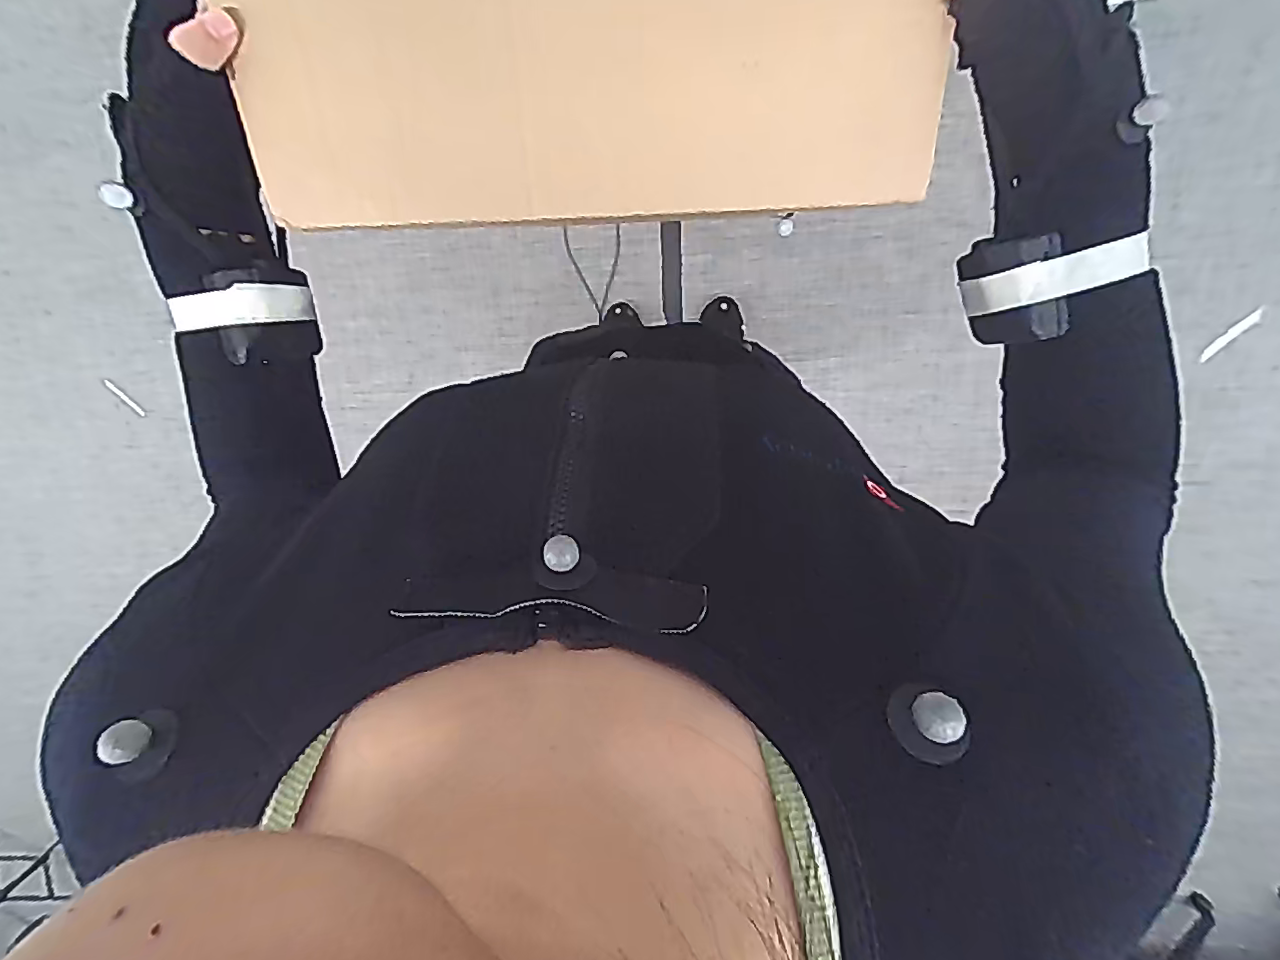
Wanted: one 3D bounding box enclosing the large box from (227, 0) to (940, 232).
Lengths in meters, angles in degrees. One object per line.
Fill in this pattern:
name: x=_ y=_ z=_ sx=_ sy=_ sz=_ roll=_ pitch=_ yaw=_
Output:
large box: x=-0.030 y=-0.373 z=0.415 sx=0.408 sy=0.320 sz=0.320 roll=-1 pitch=115 yaw=2
